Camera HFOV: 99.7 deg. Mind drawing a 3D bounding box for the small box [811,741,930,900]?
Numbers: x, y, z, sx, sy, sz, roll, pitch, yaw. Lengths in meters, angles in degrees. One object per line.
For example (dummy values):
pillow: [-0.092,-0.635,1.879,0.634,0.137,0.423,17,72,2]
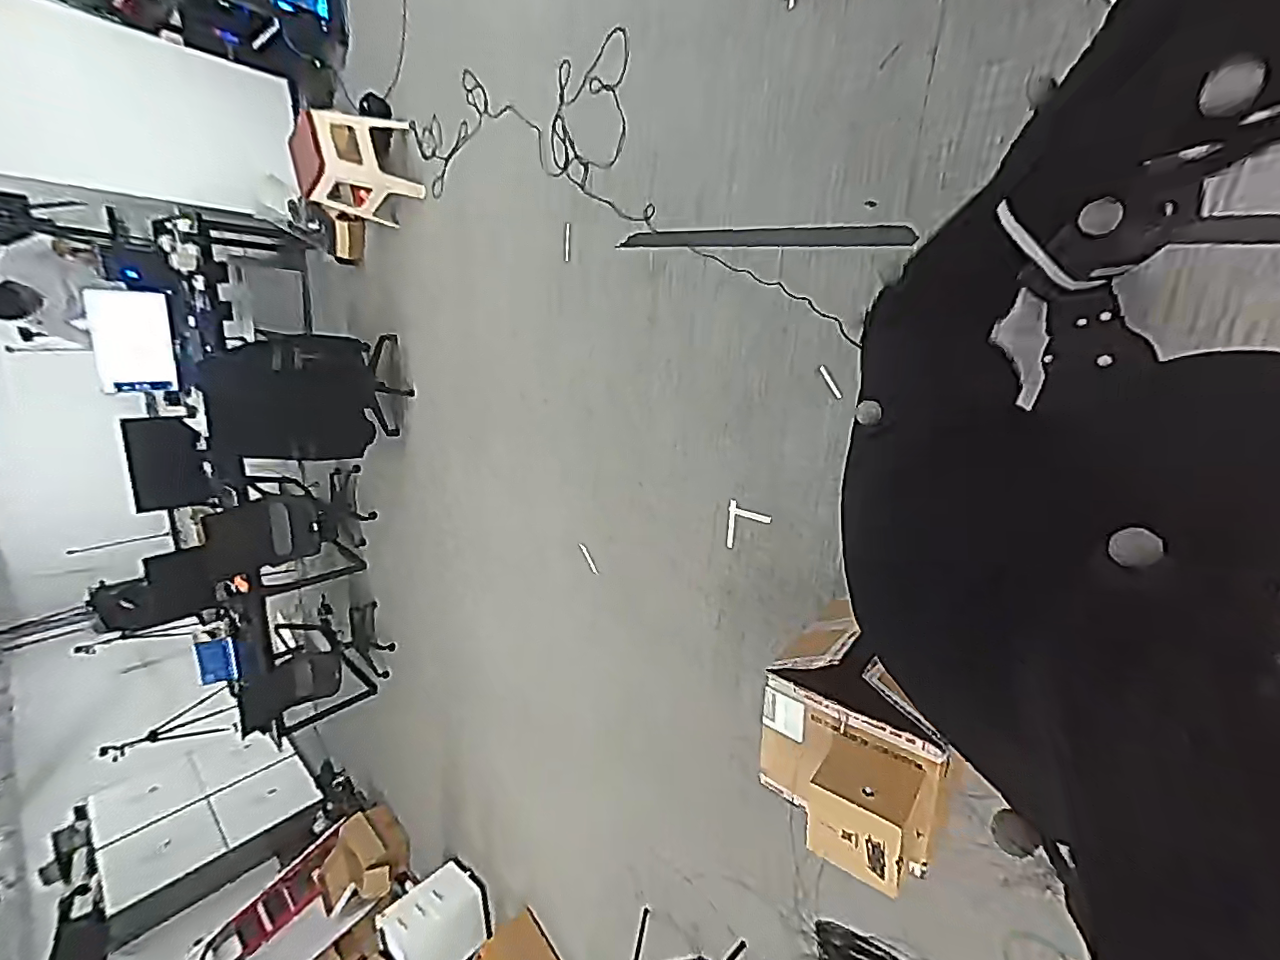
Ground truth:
small box: [0.461,0.659,1.075,0.179,0.176,0.168,10,109,40]
